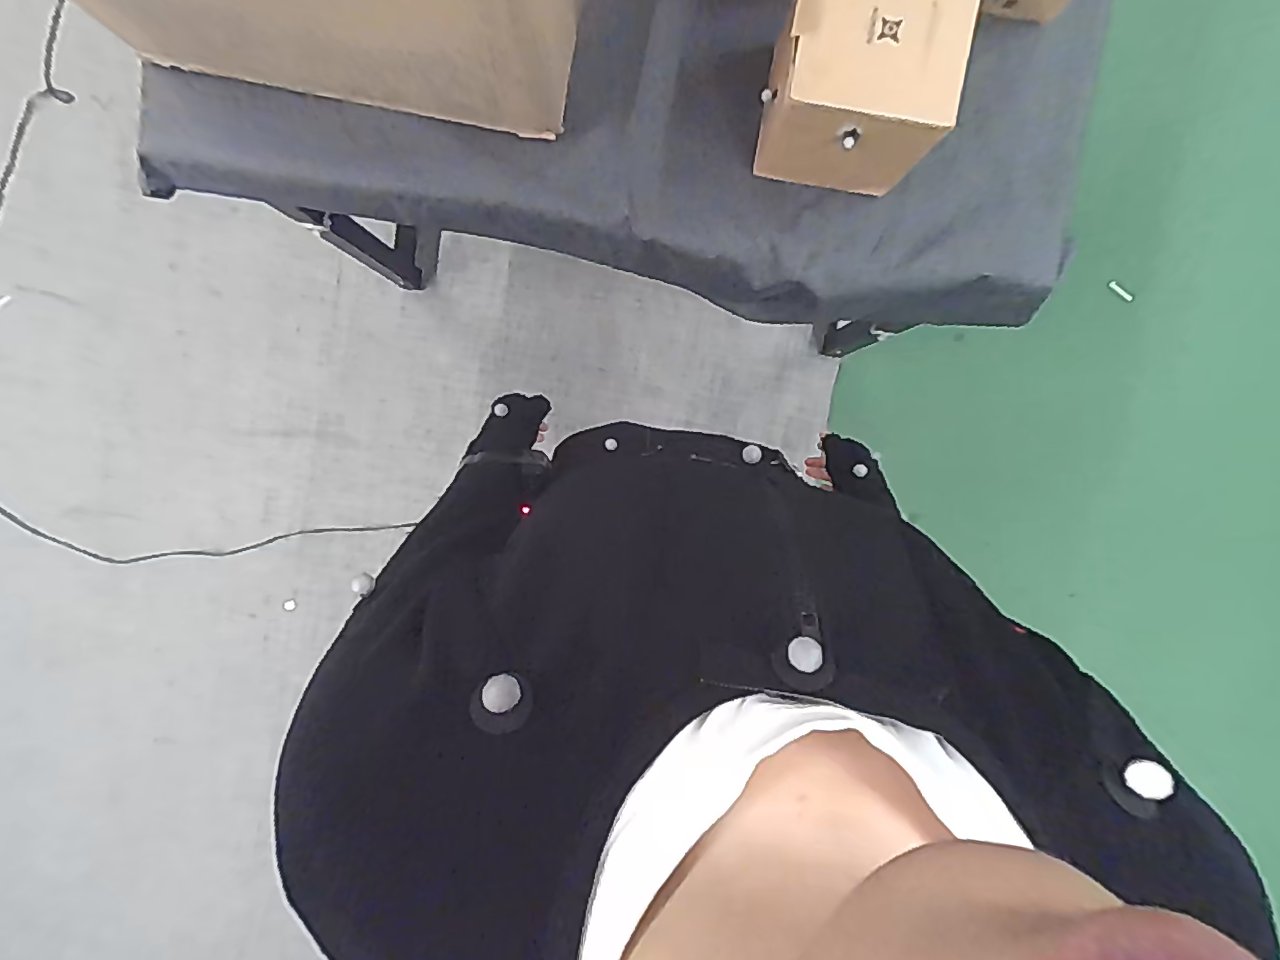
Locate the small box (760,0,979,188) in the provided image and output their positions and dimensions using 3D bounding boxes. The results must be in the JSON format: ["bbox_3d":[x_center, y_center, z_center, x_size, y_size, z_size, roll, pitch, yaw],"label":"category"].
[{"bbox_3d":[0.250,-0.465,0.626,0.179,0.176,0.168,9,96,-2],"label":"small box"}]
